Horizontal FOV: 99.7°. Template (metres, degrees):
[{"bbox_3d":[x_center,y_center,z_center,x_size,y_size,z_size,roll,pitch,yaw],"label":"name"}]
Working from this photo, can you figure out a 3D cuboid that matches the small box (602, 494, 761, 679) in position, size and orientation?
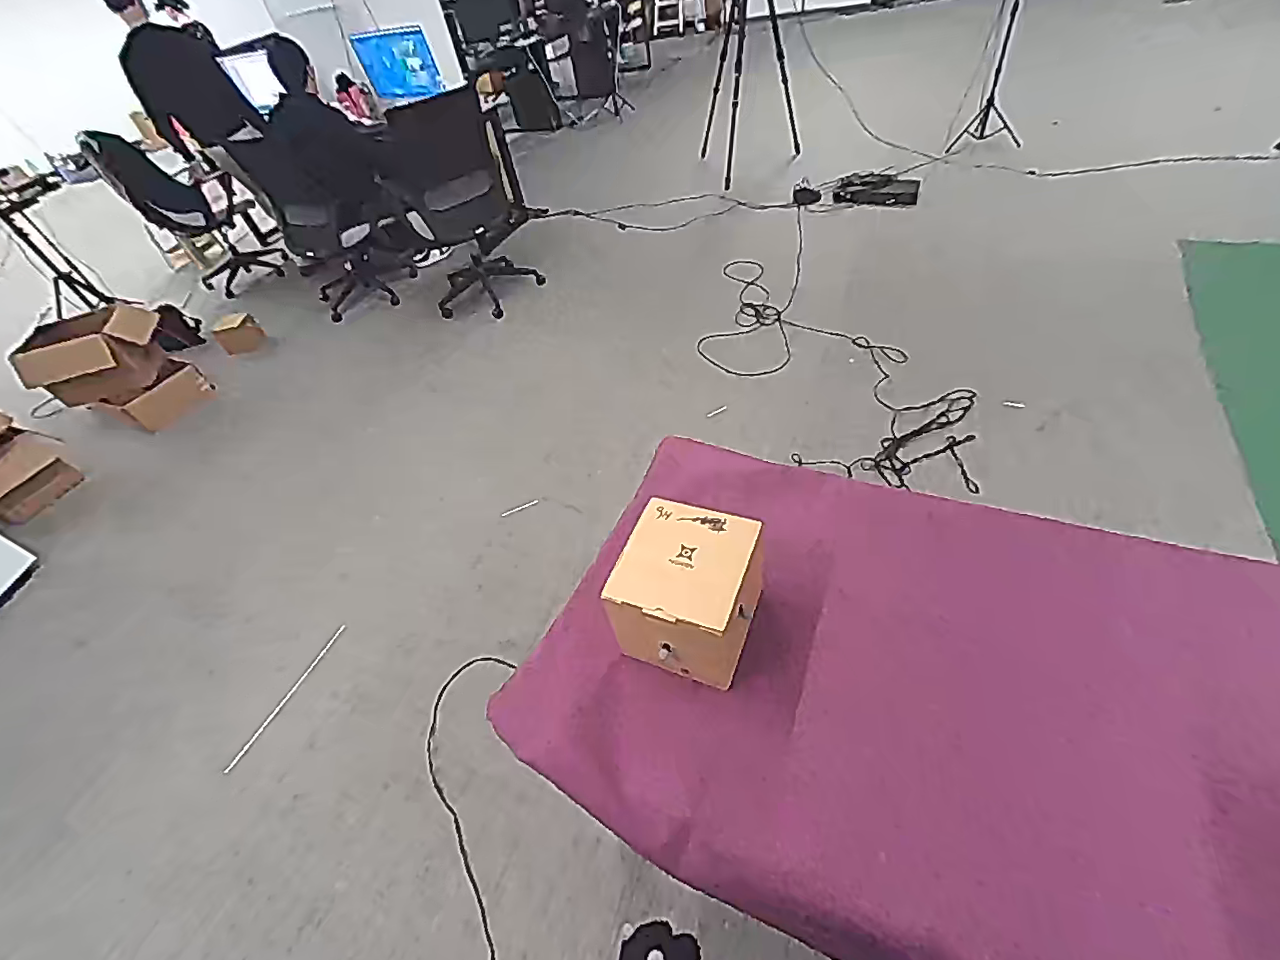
[{"bbox_3d":[0.070,0.151,0.762,0.168,0.176,0.179,13,52,22],"label":"small box"}]
